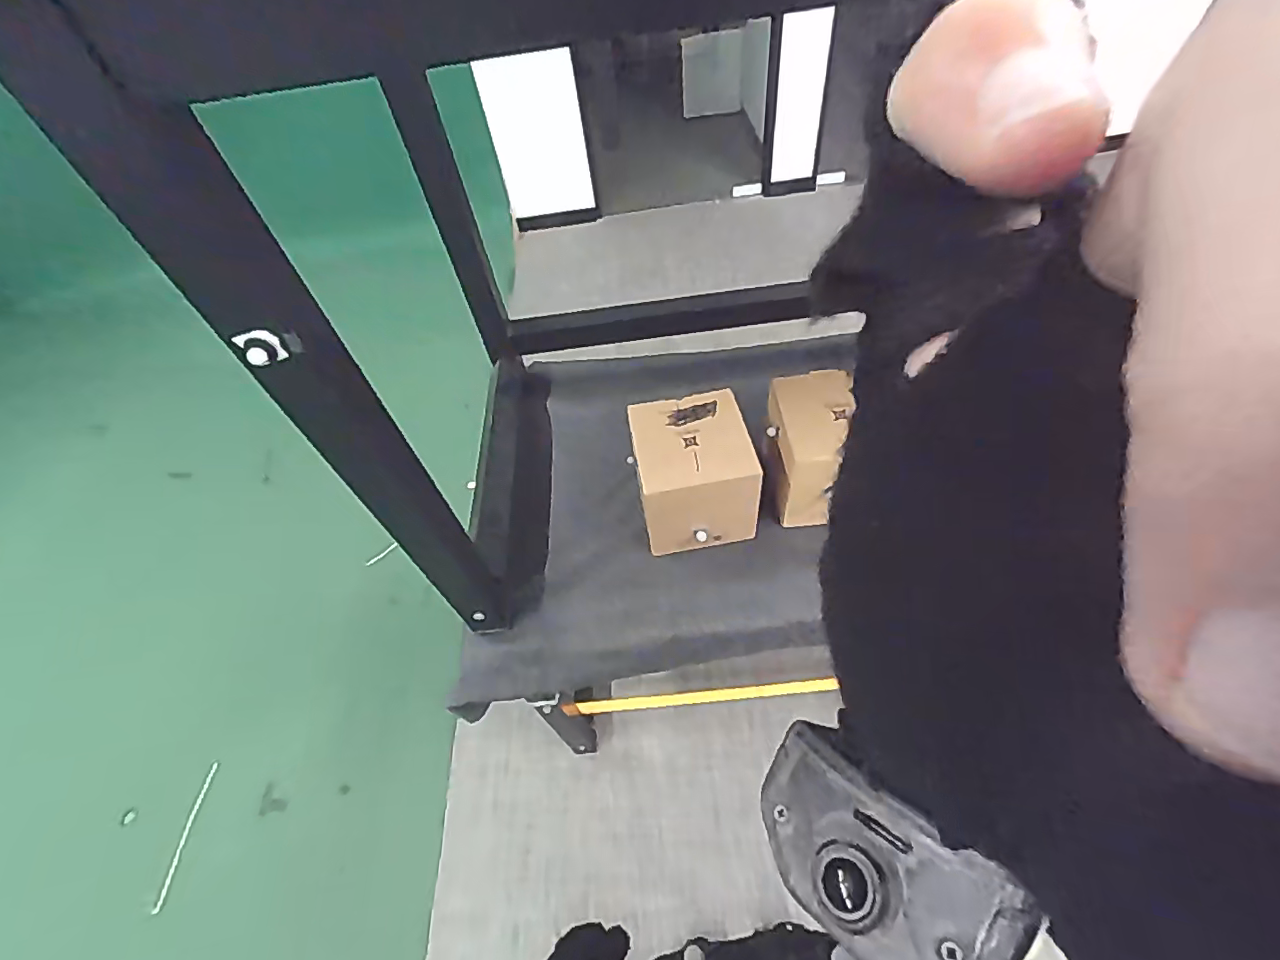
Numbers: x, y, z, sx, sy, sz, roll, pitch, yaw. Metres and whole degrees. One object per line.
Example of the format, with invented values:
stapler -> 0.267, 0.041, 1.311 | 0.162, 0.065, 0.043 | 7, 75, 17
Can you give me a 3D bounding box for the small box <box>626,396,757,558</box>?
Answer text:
small box -> 0.076, -0.003, 0.851 | 0.168, 0.176, 0.179 | -11, 52, -1
